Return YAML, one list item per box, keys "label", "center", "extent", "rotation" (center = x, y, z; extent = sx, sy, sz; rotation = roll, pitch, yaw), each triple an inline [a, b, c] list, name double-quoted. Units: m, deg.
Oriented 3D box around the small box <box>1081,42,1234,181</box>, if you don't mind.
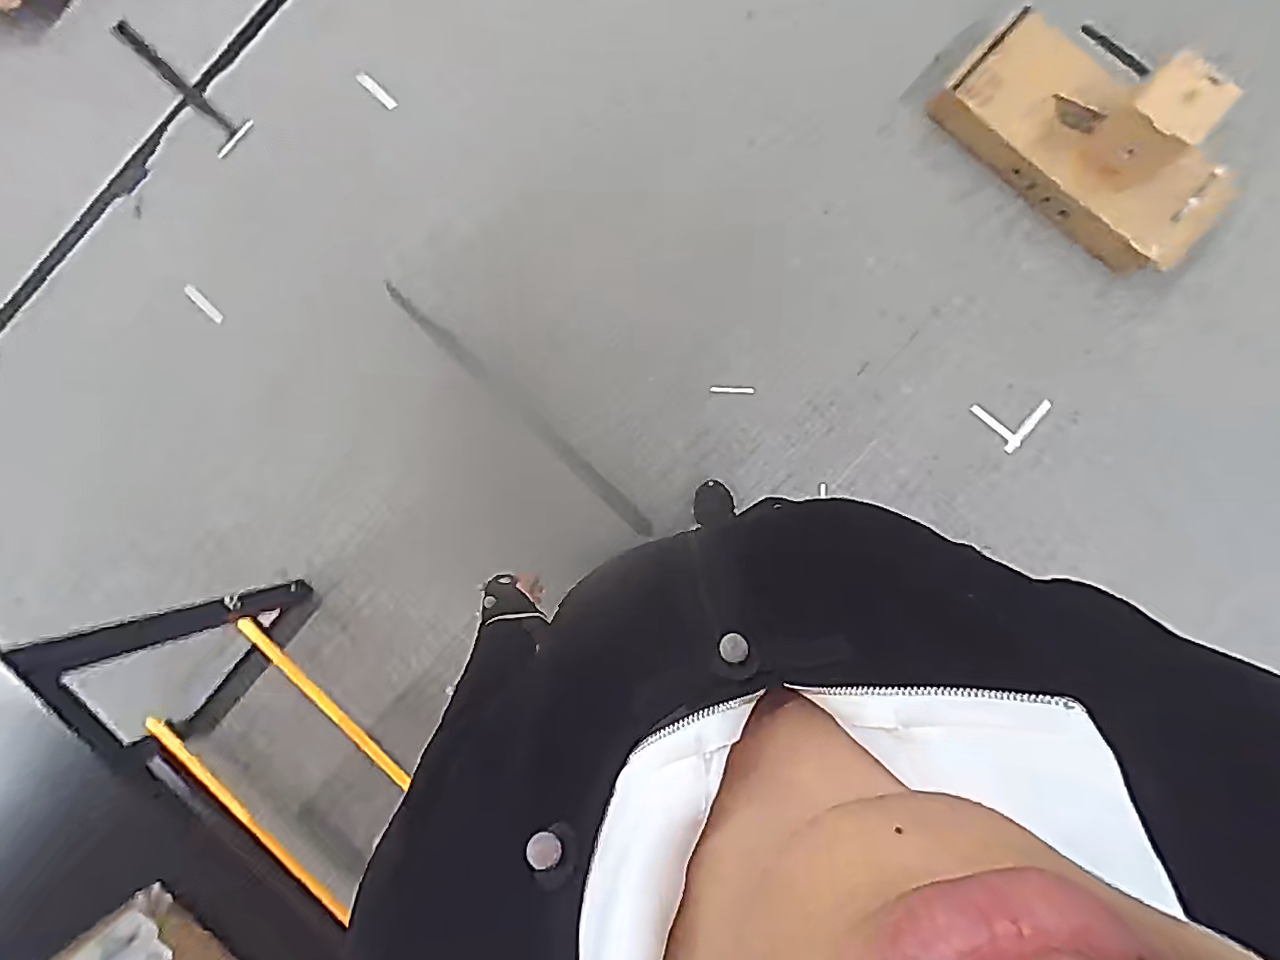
- label: "small box"
  center: [1.210, -0.862, 1.286]
  extent: [0.168, 0.176, 0.179]
  rotation: [40, 91, 3]
